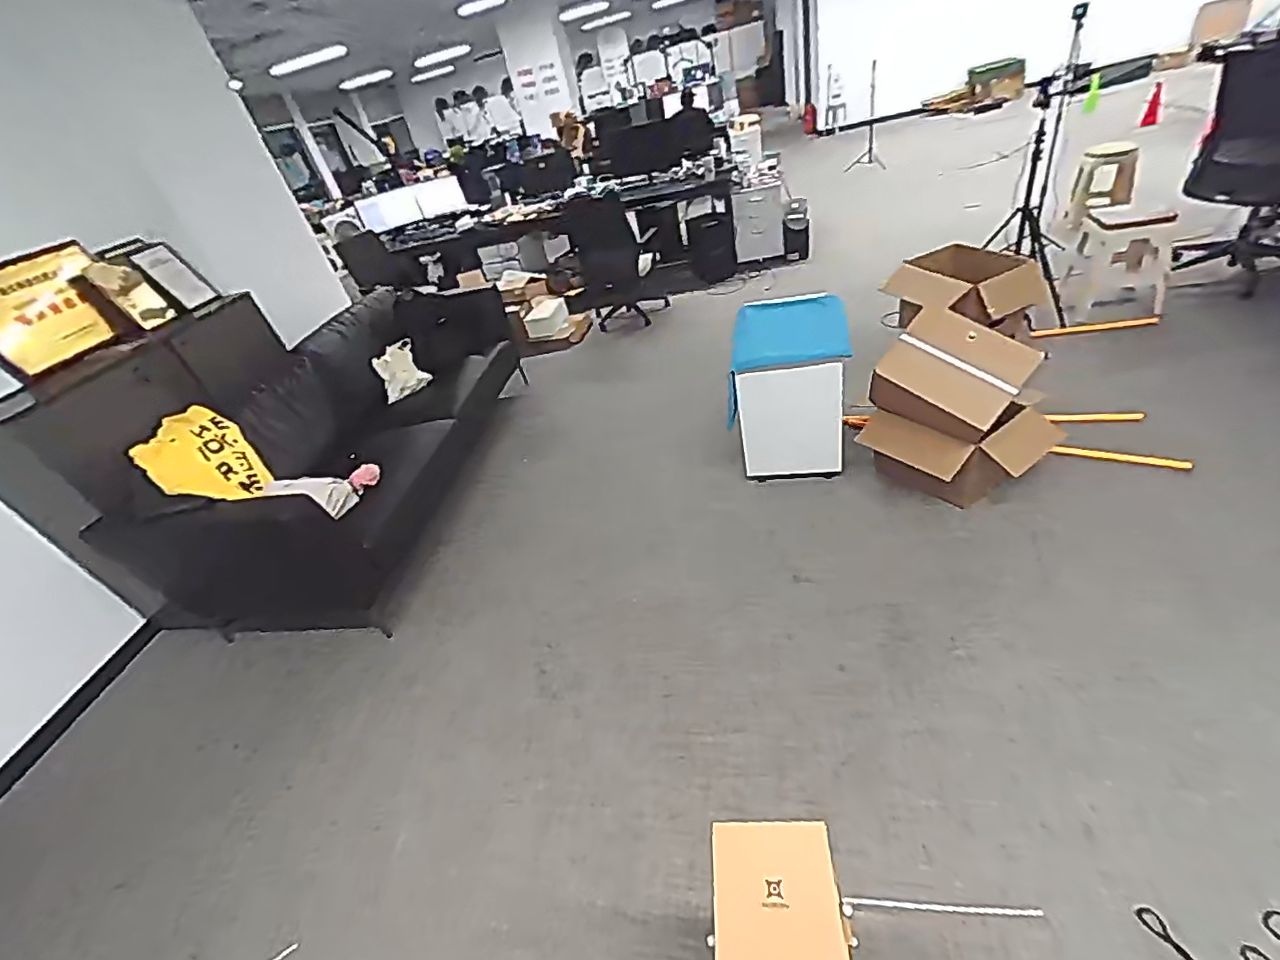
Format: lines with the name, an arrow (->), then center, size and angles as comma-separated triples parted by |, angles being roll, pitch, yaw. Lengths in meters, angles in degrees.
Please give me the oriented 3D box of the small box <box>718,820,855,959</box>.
small box -> 0.206, 0.614, 0.771 | 0.168, 0.176, 0.179 | -9, 38, 12
